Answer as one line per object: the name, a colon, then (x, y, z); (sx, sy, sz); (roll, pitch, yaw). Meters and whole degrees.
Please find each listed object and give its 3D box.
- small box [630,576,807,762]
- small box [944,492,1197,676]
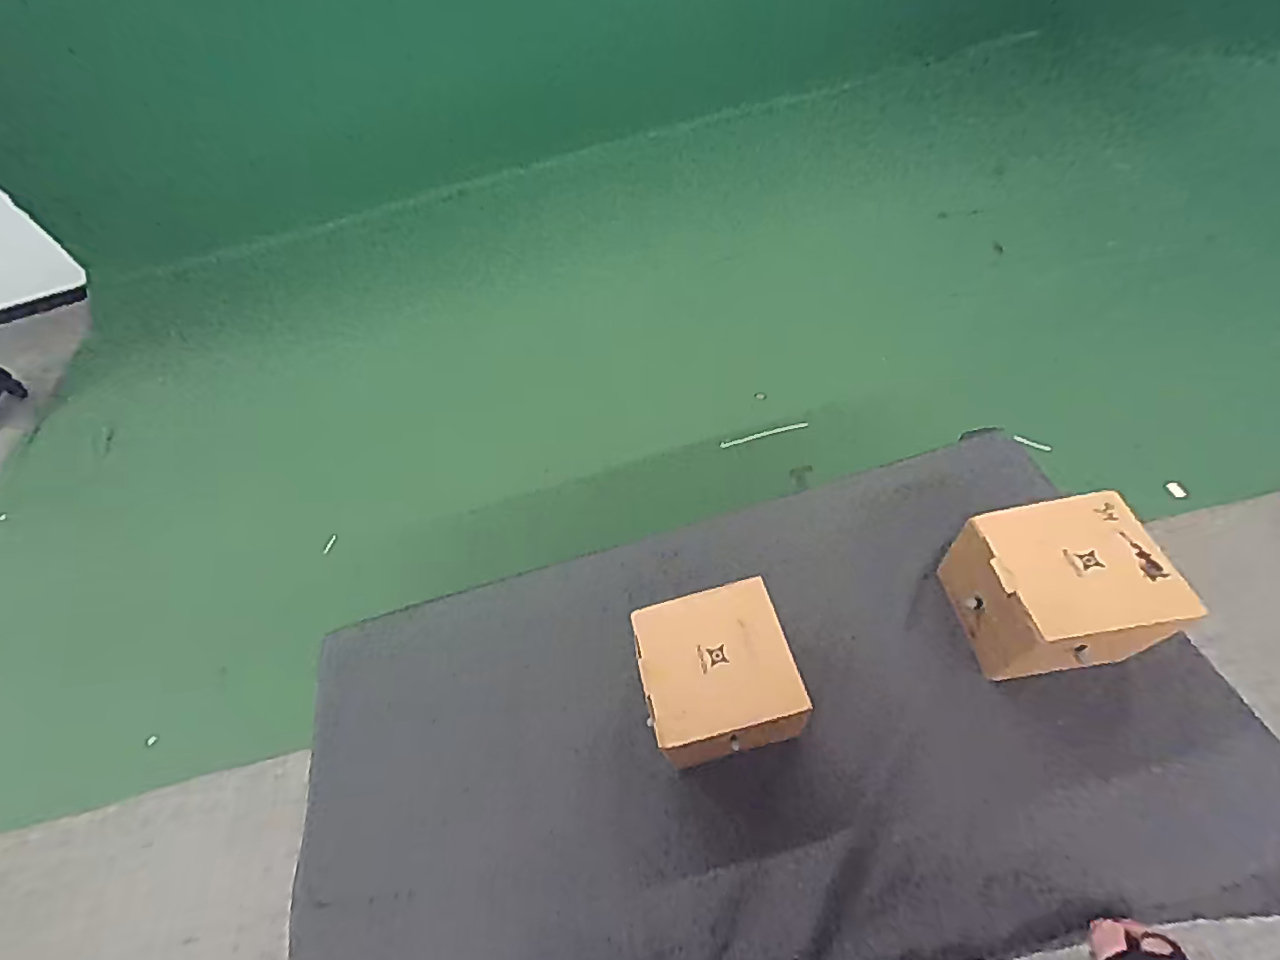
small box: (0.099, 0.252, 0.706); (0.179, 0.176, 0.168); (-15, 56, -1)
small box: (0.520, 0.141, 0.695); (0.179, 0.176, 0.168); (-11, 55, 5)
